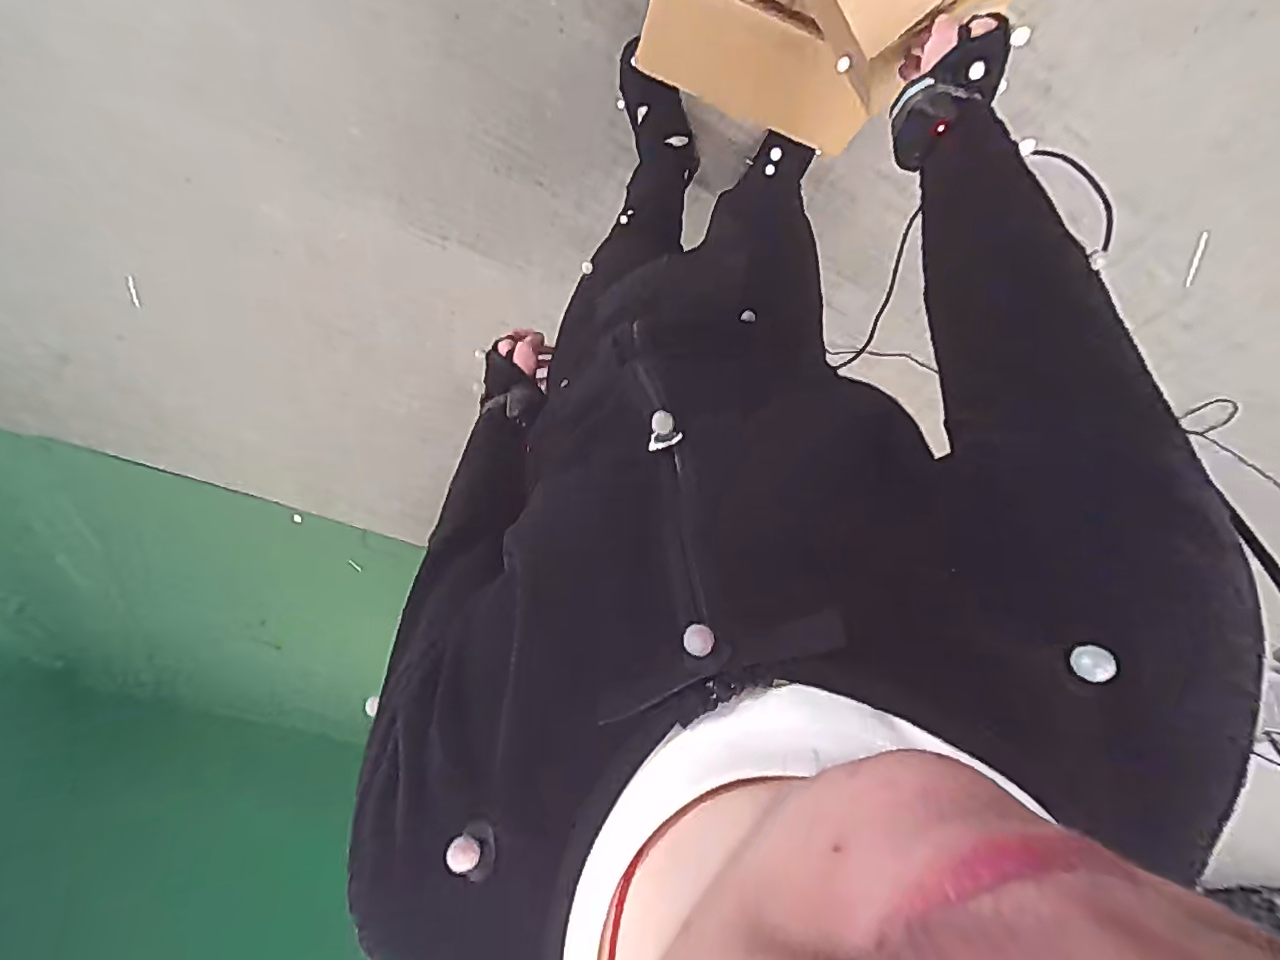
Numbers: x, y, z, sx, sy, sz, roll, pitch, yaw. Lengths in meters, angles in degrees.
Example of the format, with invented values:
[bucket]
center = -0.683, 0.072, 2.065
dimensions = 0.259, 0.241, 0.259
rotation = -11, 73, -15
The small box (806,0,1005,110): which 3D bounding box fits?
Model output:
[small box]
center = 0.293, -0.558, 0.603
dimensions = 0.168, 0.176, 0.179
rotation = -27, 91, 23
